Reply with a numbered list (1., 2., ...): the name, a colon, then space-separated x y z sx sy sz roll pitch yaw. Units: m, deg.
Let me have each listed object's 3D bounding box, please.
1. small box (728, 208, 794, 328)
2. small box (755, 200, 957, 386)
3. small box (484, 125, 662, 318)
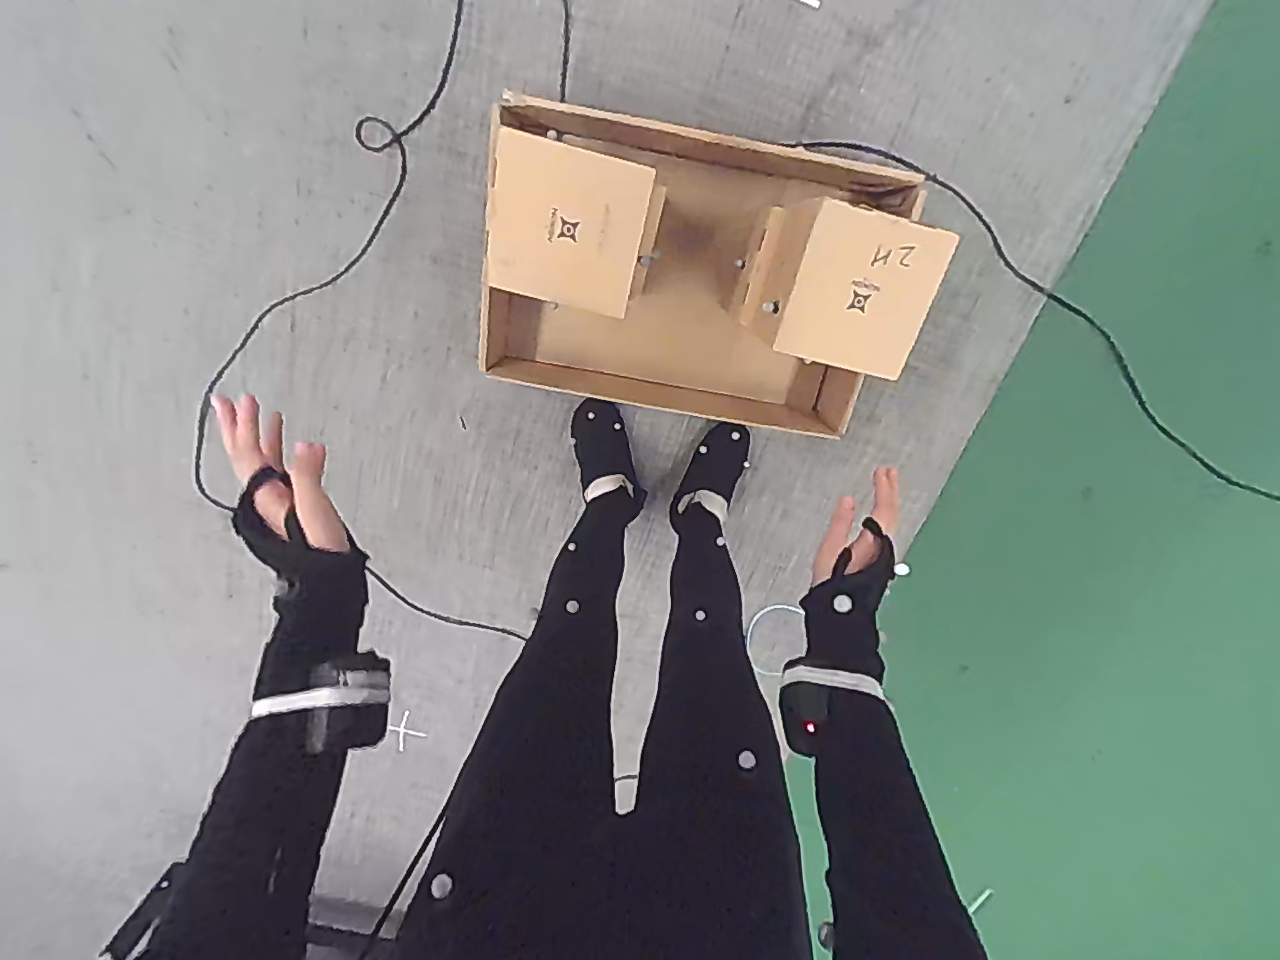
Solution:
1. small box: 0.250 -0.315 0.859 0.179 0.176 0.168 14 113 -4
2. small box: 0.262 -0.244 0.709 0.168 0.176 0.179 14 112 -6
3. small box: -0.079 -0.318 0.686 0.179 0.176 0.168 14 114 -6
